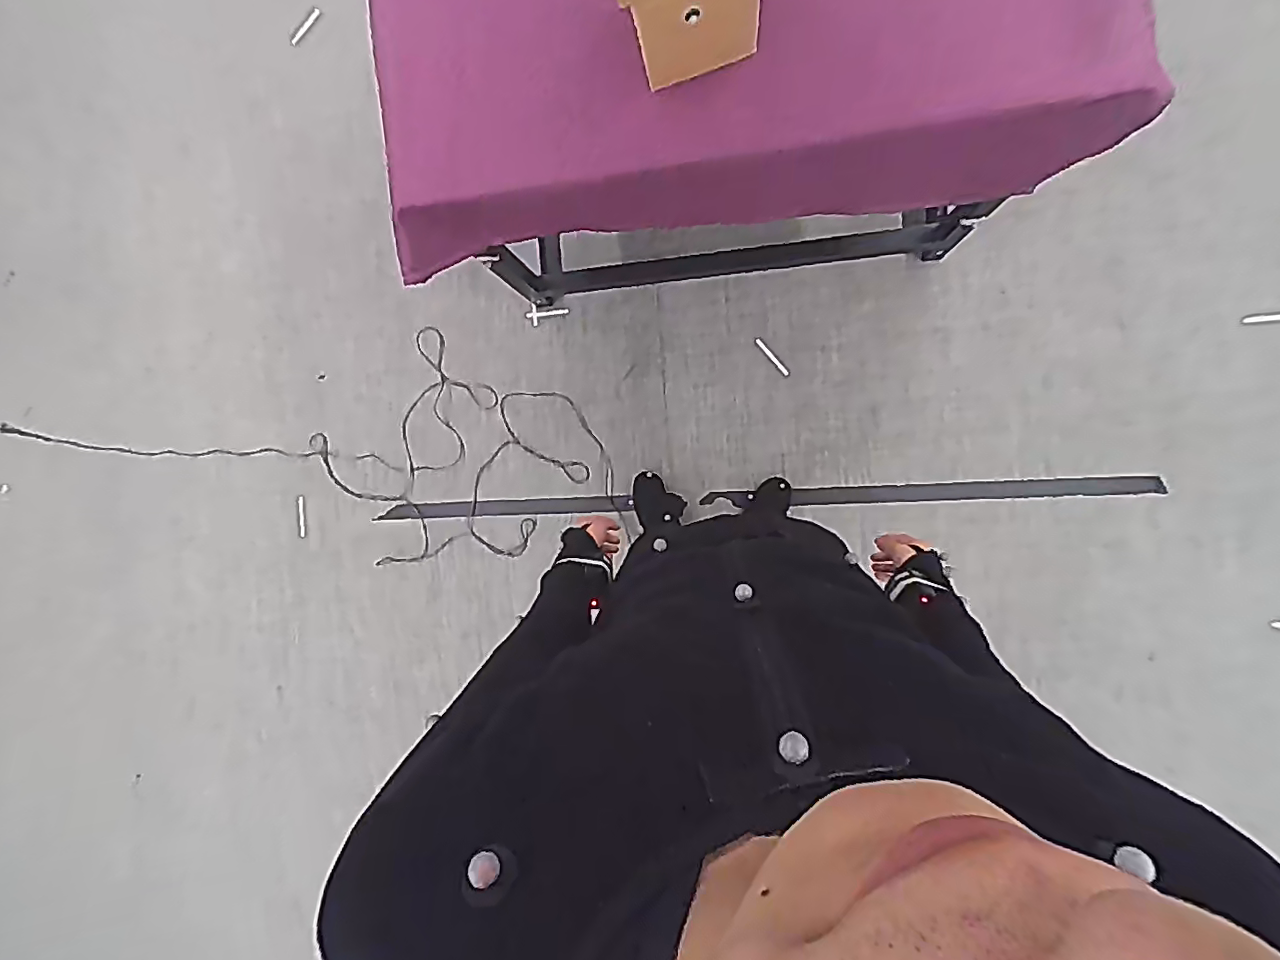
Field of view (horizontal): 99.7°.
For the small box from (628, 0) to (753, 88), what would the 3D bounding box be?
[{"bbox_3d":[0.067,-0.733,0.801,0.179,0.176,0.168,-14,90,8],"label":"small box"}]
